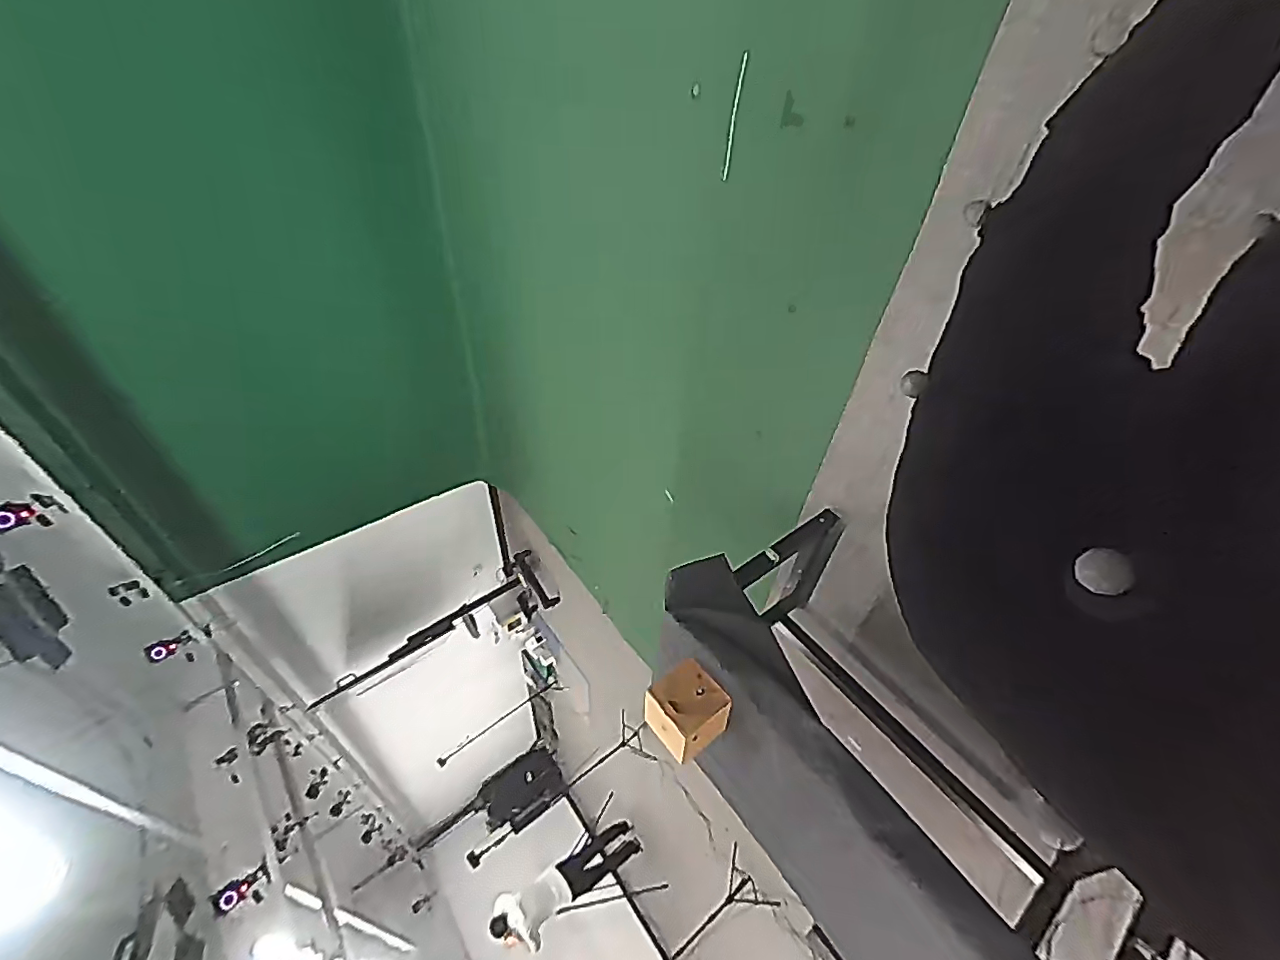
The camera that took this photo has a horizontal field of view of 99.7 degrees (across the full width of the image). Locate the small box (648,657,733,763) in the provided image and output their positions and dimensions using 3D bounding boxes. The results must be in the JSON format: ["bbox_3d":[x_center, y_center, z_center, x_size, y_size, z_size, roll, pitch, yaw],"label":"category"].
[{"bbox_3d":[0.137,0.631,1.494,0.168,0.176,0.179,40,144,37],"label":"small box"}]
